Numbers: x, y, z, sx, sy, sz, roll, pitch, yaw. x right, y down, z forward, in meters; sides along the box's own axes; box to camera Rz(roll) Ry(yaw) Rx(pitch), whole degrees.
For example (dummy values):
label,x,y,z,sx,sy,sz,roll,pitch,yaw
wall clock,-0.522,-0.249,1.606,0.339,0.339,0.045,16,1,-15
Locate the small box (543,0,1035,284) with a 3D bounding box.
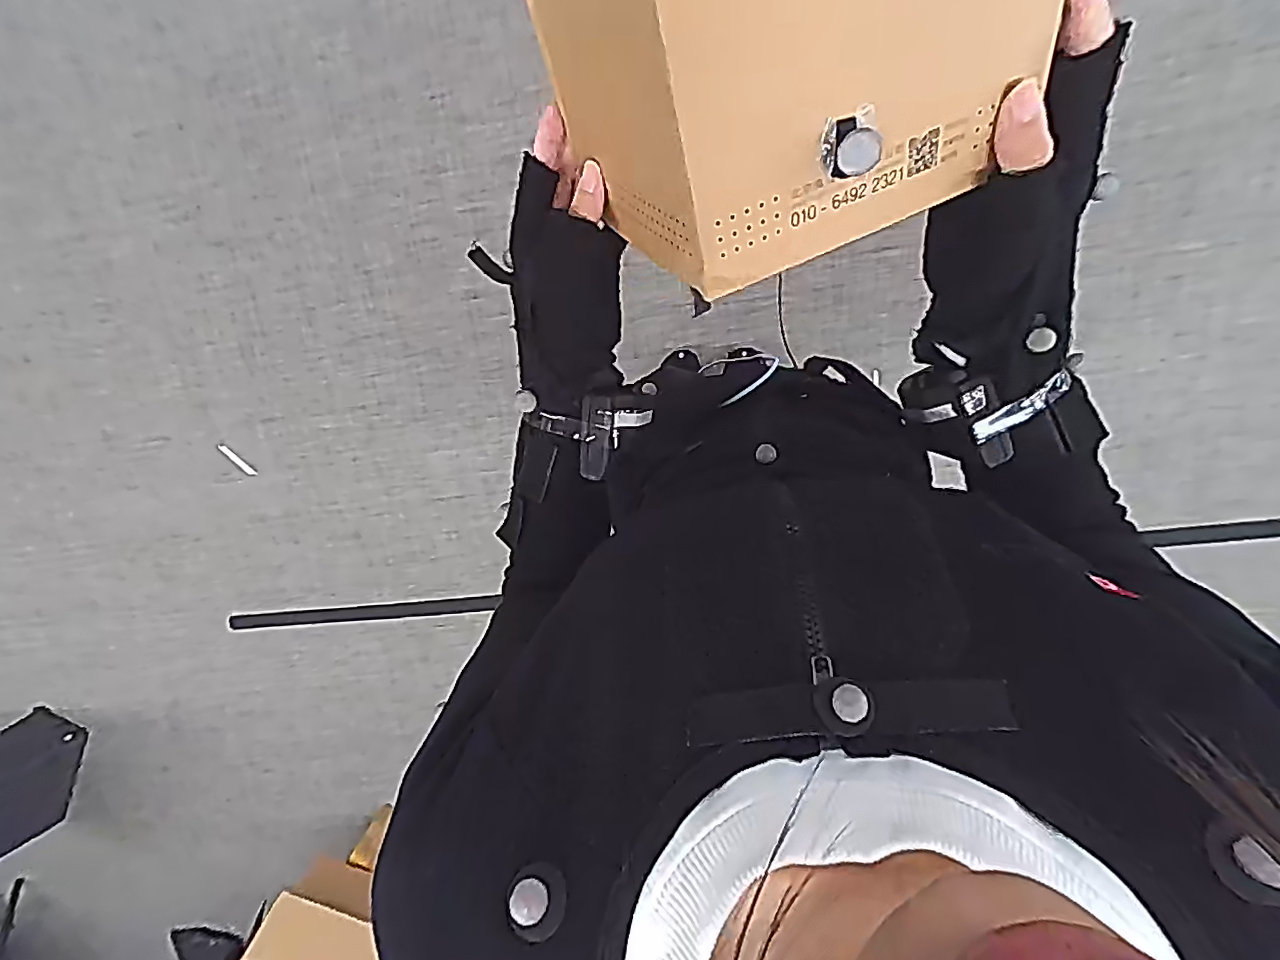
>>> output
label,x,y,z,sx,sy,sz,roll,pitch,yaw
small box,0.054,-0.220,0.262,0.168,0.179,0.176,-26,133,-5
